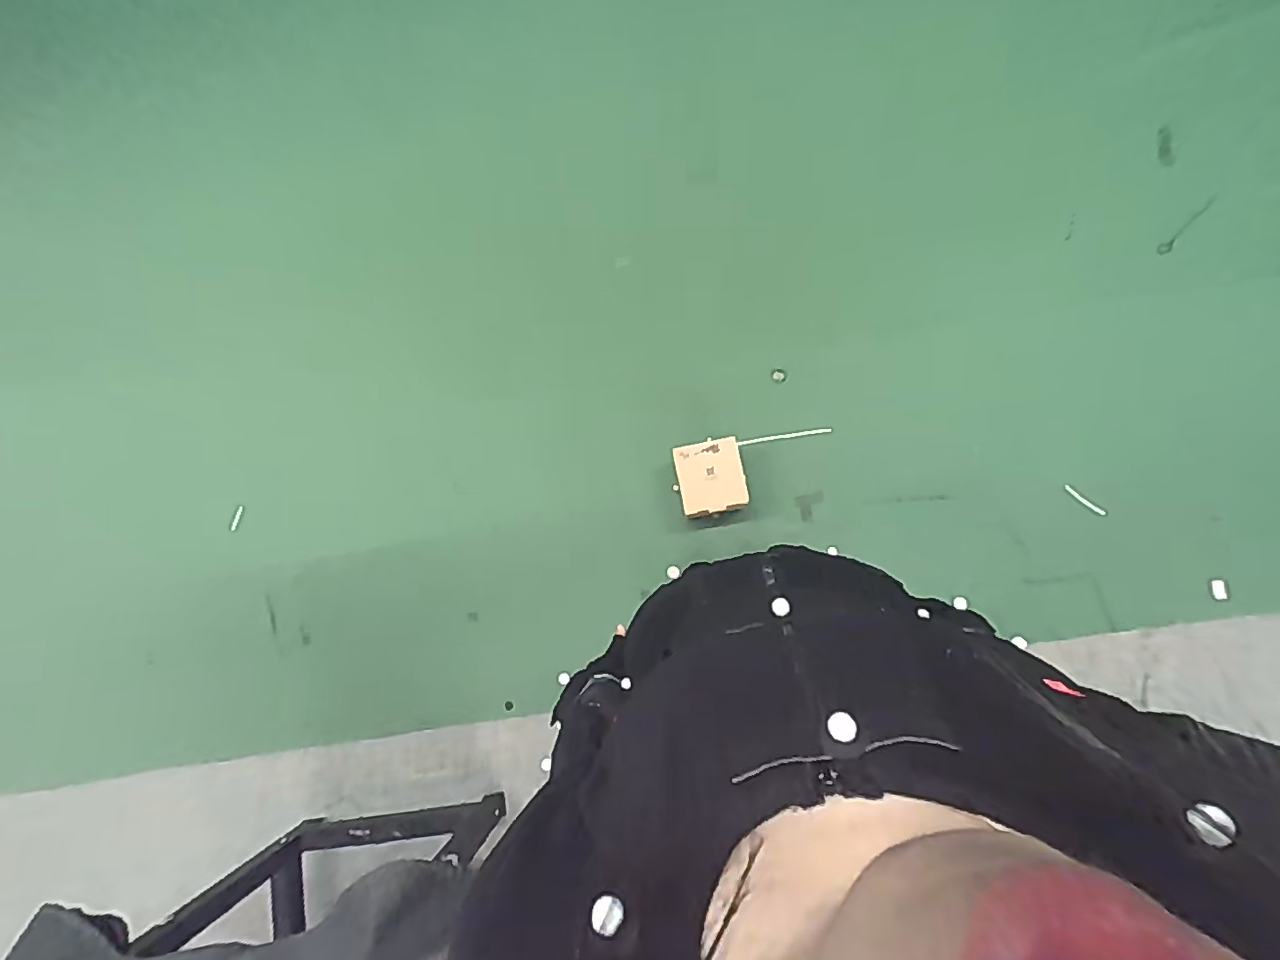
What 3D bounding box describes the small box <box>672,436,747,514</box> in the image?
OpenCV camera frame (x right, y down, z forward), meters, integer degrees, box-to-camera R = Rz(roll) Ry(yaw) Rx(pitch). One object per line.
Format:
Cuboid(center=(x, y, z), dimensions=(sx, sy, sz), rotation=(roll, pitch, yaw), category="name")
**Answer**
Cuboid(center=(0.182, -0.007, 1.434), dimensions=(0.168, 0.176, 0.179), rotation=(-11, 83, 4), category="small box")
